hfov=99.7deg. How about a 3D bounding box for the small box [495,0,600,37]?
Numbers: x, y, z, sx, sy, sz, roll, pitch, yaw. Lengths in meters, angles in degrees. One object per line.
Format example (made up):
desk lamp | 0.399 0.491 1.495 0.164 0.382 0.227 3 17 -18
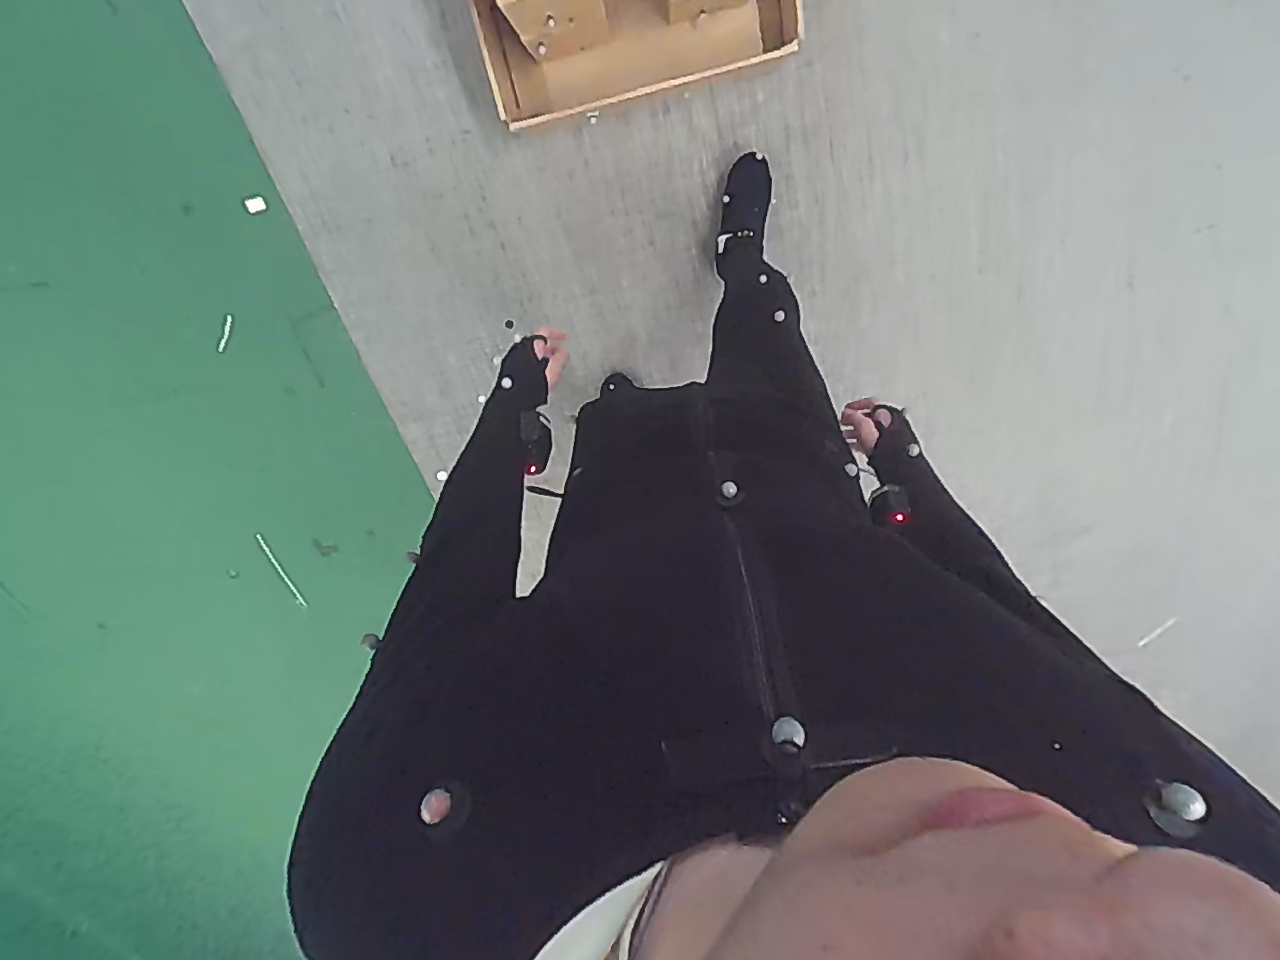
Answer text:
small box | -0.169 -0.888 0.901 0.168 0.176 0.179 -10 114 6
